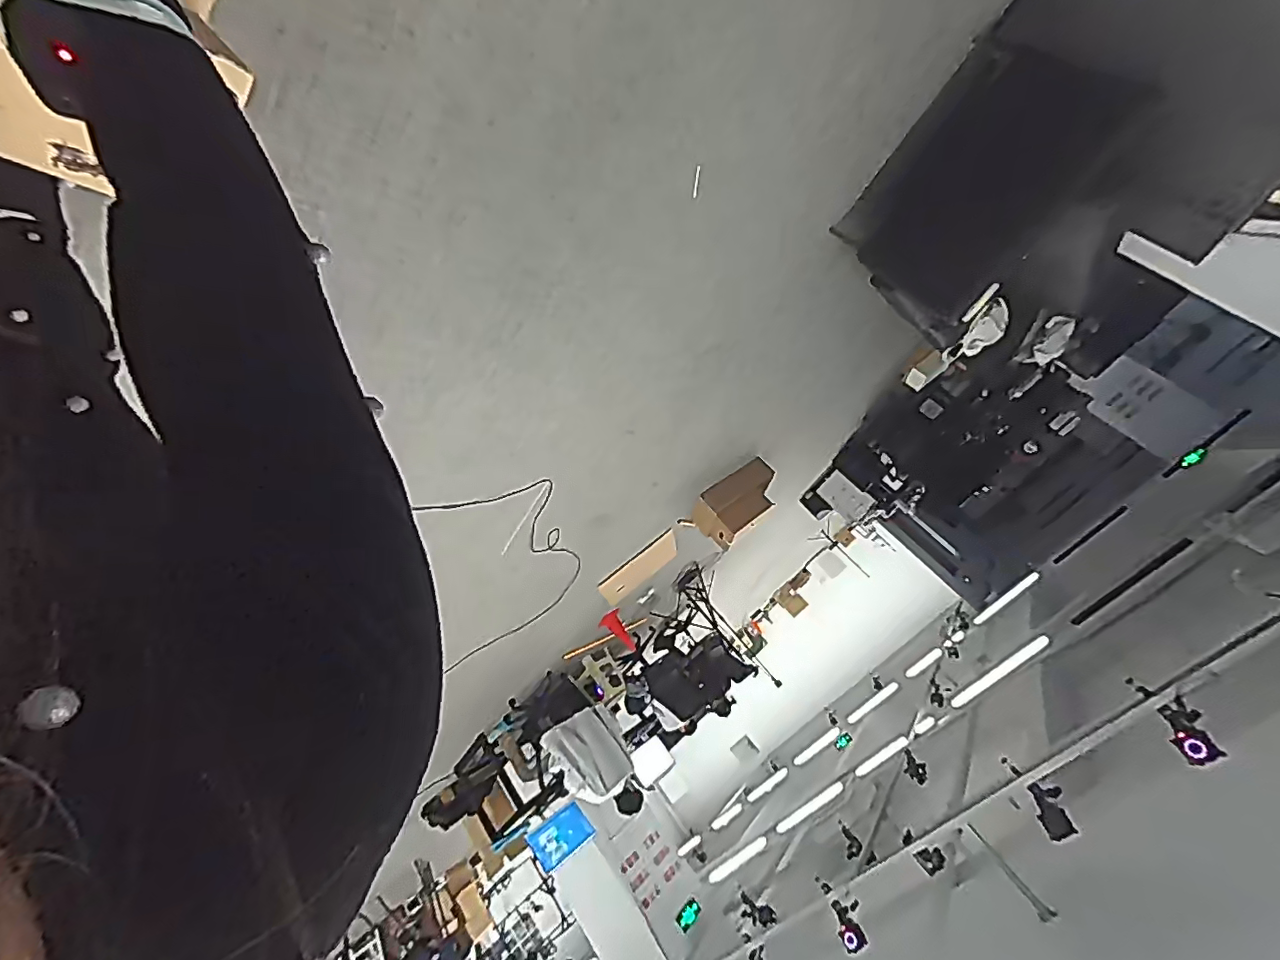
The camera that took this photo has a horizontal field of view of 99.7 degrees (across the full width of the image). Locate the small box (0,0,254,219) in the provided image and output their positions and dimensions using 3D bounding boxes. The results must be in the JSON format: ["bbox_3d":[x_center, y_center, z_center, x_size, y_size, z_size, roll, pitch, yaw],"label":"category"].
[{"bbox_3d":[-0.529,-0.407,0.533,0.179,0.176,0.168,-53,155,19],"label":"small box"}]
